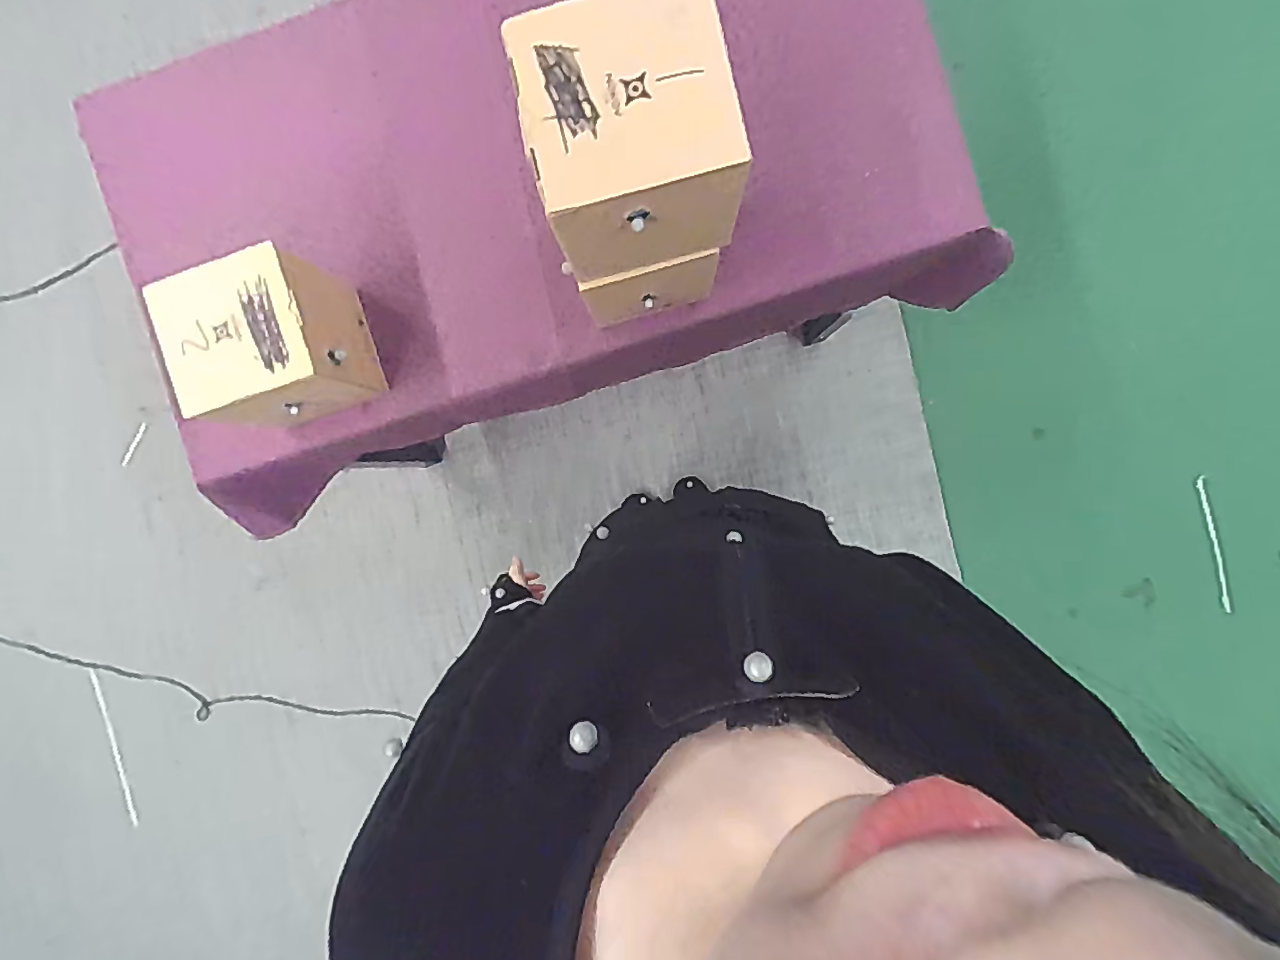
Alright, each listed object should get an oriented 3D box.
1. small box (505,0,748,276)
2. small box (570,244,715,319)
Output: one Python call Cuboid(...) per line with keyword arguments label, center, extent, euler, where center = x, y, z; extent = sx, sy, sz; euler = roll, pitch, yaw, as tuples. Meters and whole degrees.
Cuboid(label="small box", center=(-0.008, -0.319, 0.525), extent=(0.179, 0.176, 0.168), euler=(-13, 91, 2))
Cuboid(label="small box", center=(-0.007, -0.319, 0.690), extent=(0.168, 0.176, 0.179), euler=(-14, 91, 3))
